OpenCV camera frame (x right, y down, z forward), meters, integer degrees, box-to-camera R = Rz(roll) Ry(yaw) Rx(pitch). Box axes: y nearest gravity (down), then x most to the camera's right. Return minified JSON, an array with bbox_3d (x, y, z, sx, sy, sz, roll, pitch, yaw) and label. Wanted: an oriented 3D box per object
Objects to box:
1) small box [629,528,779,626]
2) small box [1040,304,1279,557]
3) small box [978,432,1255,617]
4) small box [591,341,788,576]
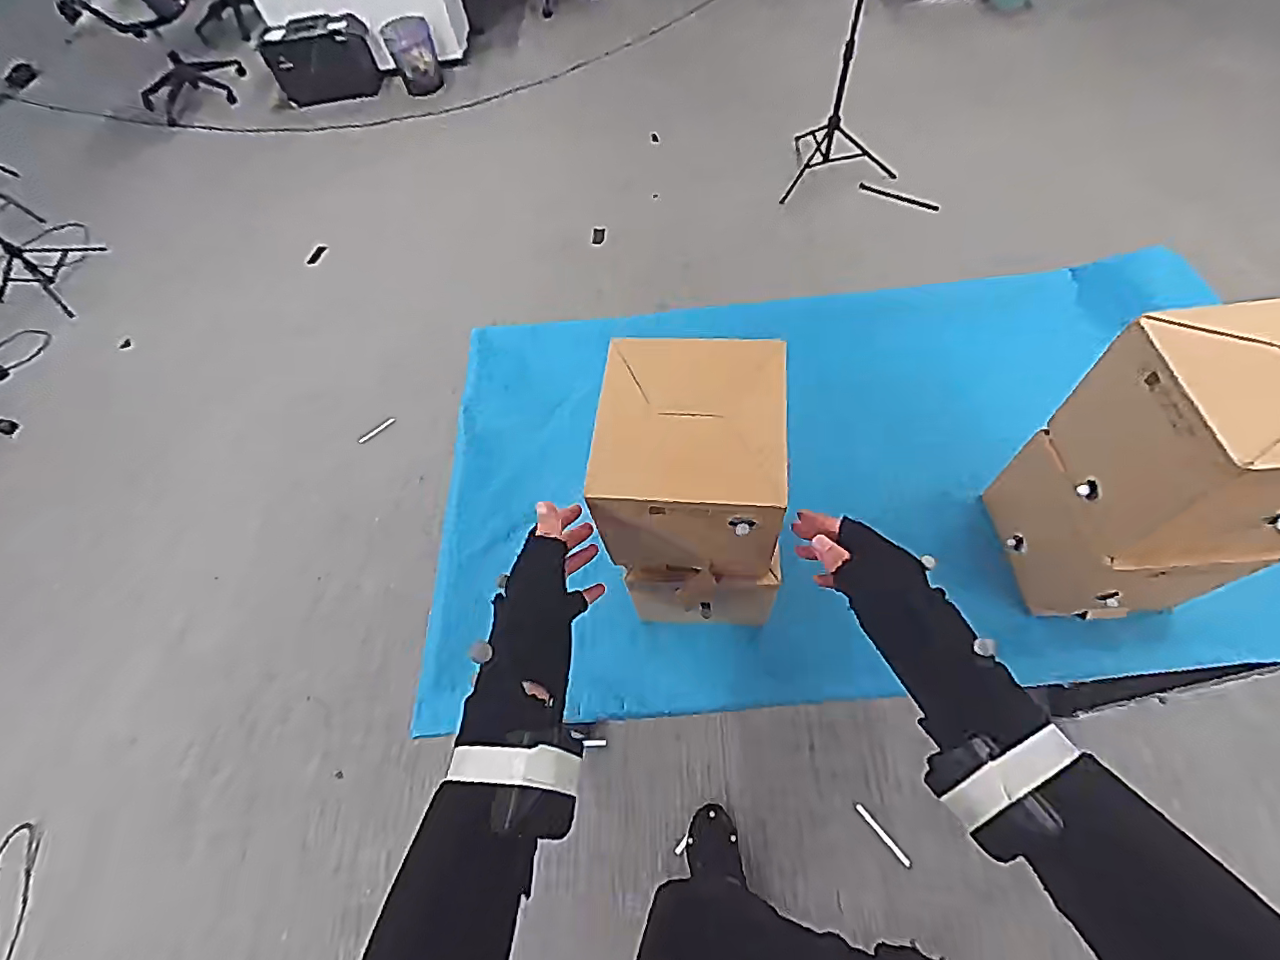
[{"bbox_3d":[0.079,0.074,0.682,0.168,0.176,0.179,0,61,6],"label":"small box"},{"bbox_3d":[0.534,-0.042,0.502,0.179,0.176,0.168,-5,58,7],"label":"small box"},{"bbox_3d":[0.547,0.046,0.640,0.168,0.176,0.179,-5,59,4],"label":"small box"},{"bbox_3d":[0.054,-0.017,0.547,0.168,0.176,0.179,3,62,8],"label":"small box"}]
